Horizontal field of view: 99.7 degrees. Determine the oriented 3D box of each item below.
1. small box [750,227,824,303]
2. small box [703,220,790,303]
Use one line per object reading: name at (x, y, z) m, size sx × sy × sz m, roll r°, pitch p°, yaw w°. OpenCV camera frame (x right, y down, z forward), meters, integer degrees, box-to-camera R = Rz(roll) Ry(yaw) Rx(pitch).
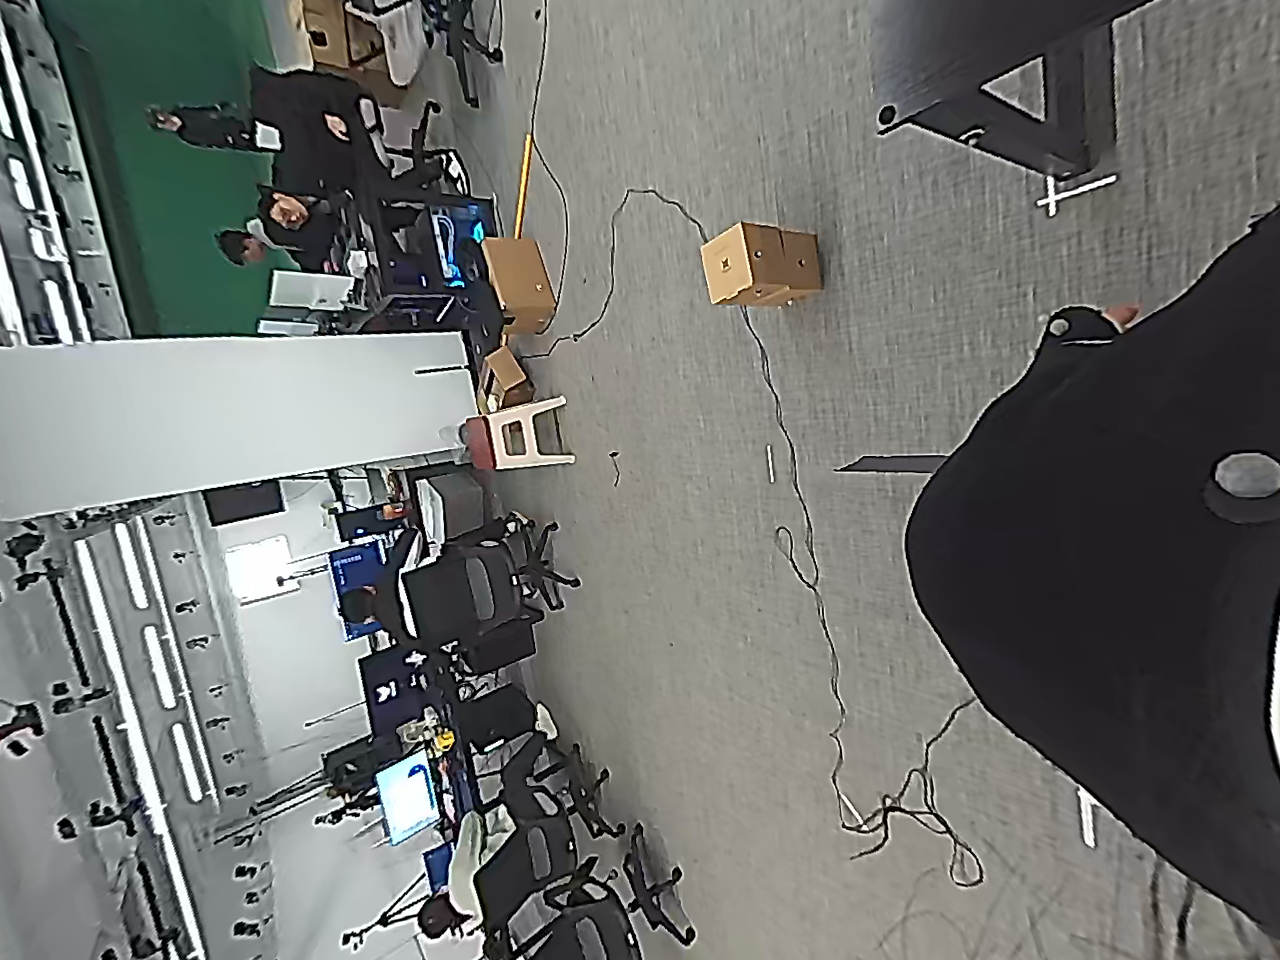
small box at (0.444, -0.657, 1.671) m, size 0.168 × 0.176 × 0.179 m, roll -3°, pitch 99°, yaw 54°
small box at (0.314, -0.631, 1.577) m, size 0.168 × 0.176 × 0.179 m, roll -9°, pitch 93°, yaw 53°
